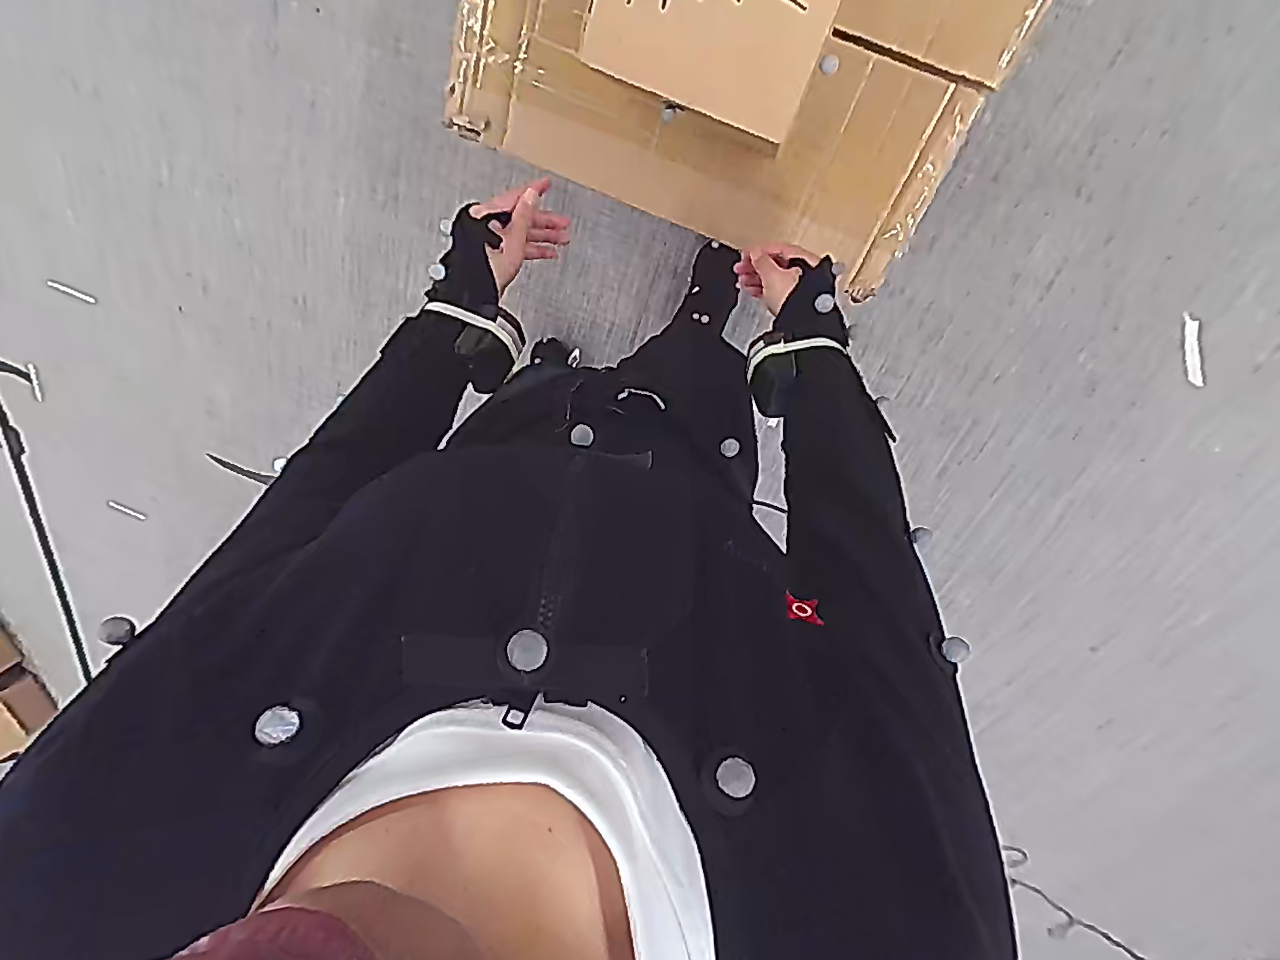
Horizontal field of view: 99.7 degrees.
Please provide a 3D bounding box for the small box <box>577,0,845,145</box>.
[{"bbox_3d":[0.073,-0.398,0.446,0.179,0.176,0.168,23,120,0],"label":"small box"}]
